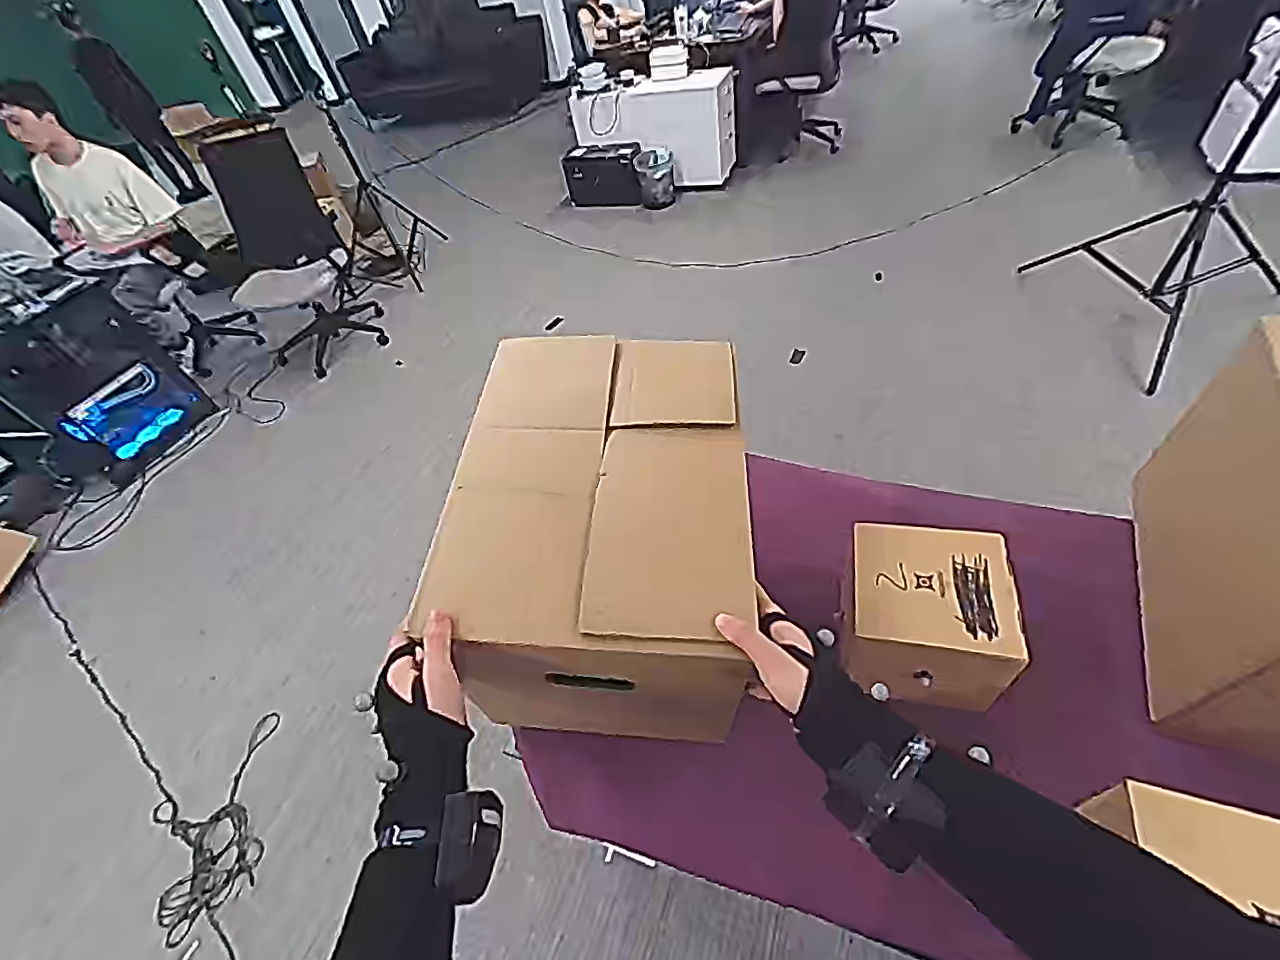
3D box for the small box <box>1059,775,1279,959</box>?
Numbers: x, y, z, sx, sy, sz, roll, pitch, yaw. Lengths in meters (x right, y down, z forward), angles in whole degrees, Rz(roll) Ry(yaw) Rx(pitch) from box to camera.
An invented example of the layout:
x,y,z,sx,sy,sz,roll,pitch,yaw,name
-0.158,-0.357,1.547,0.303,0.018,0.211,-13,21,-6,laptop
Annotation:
x,y,z,sx,sy,sz,roll,pitch,yaw,name
0.498,0.393,0.468,0.168,0.176,0.179,9,52,20,small box
